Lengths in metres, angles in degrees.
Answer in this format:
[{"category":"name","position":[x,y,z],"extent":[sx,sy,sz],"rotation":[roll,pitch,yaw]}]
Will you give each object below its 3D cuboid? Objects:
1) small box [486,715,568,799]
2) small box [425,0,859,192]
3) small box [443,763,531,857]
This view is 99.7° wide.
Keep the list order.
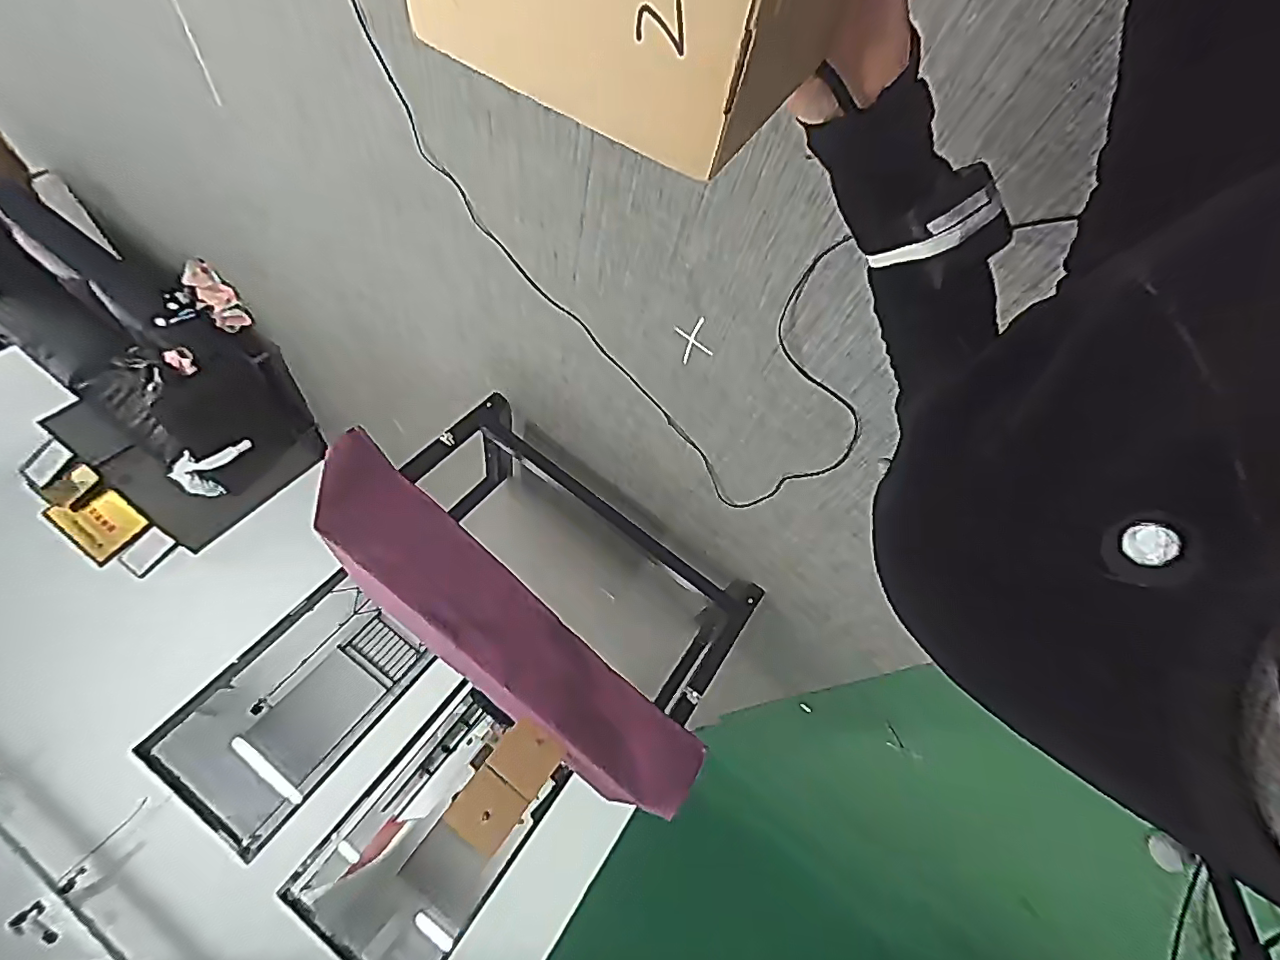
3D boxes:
[{"category":"small box","position":[-0.344,0.842,1.653],"extent":[0.179,0.176,0.168],"rotation":[36,150,10]},{"category":"small box","position":[0.017,-0.278,0.242],"extent":[0.179,0.176,0.168],"rotation":[31,153,7]},{"category":"small box","position":[-0.439,0.948,1.571],"extent":[0.179,0.176,0.168],"rotation":[35,149,9]}]
